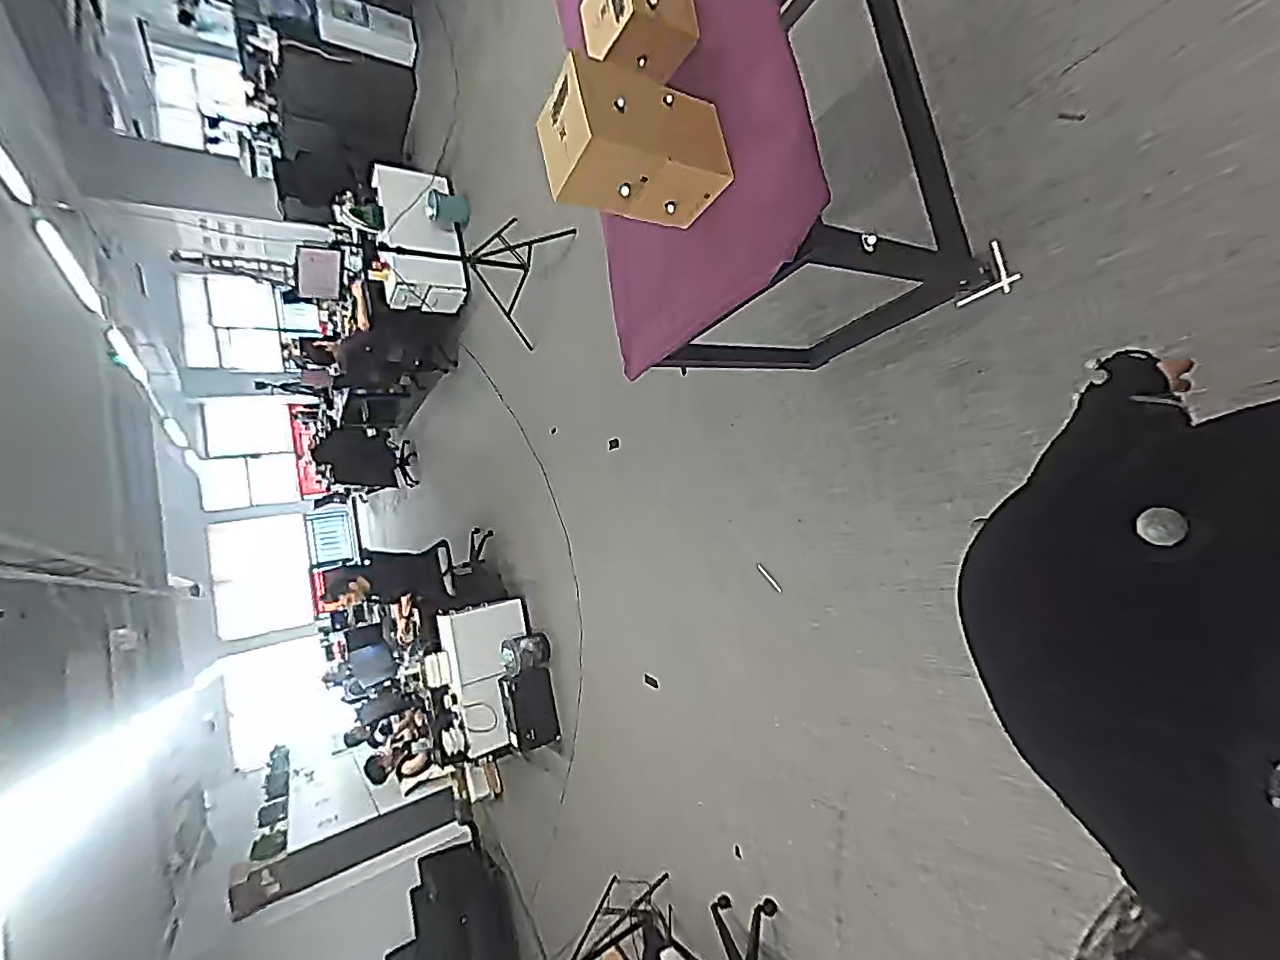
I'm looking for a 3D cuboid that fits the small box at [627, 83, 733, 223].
[{"bbox_3d":[0.066,-0.654,1.108,0.168,0.176,0.179,-26,74,55],"label":"small box"}]

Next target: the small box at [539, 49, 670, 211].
[{"bbox_3d":[-0.067,-0.639,1.013,0.168,0.176,0.179,-26,75,55],"label":"small box"}]
